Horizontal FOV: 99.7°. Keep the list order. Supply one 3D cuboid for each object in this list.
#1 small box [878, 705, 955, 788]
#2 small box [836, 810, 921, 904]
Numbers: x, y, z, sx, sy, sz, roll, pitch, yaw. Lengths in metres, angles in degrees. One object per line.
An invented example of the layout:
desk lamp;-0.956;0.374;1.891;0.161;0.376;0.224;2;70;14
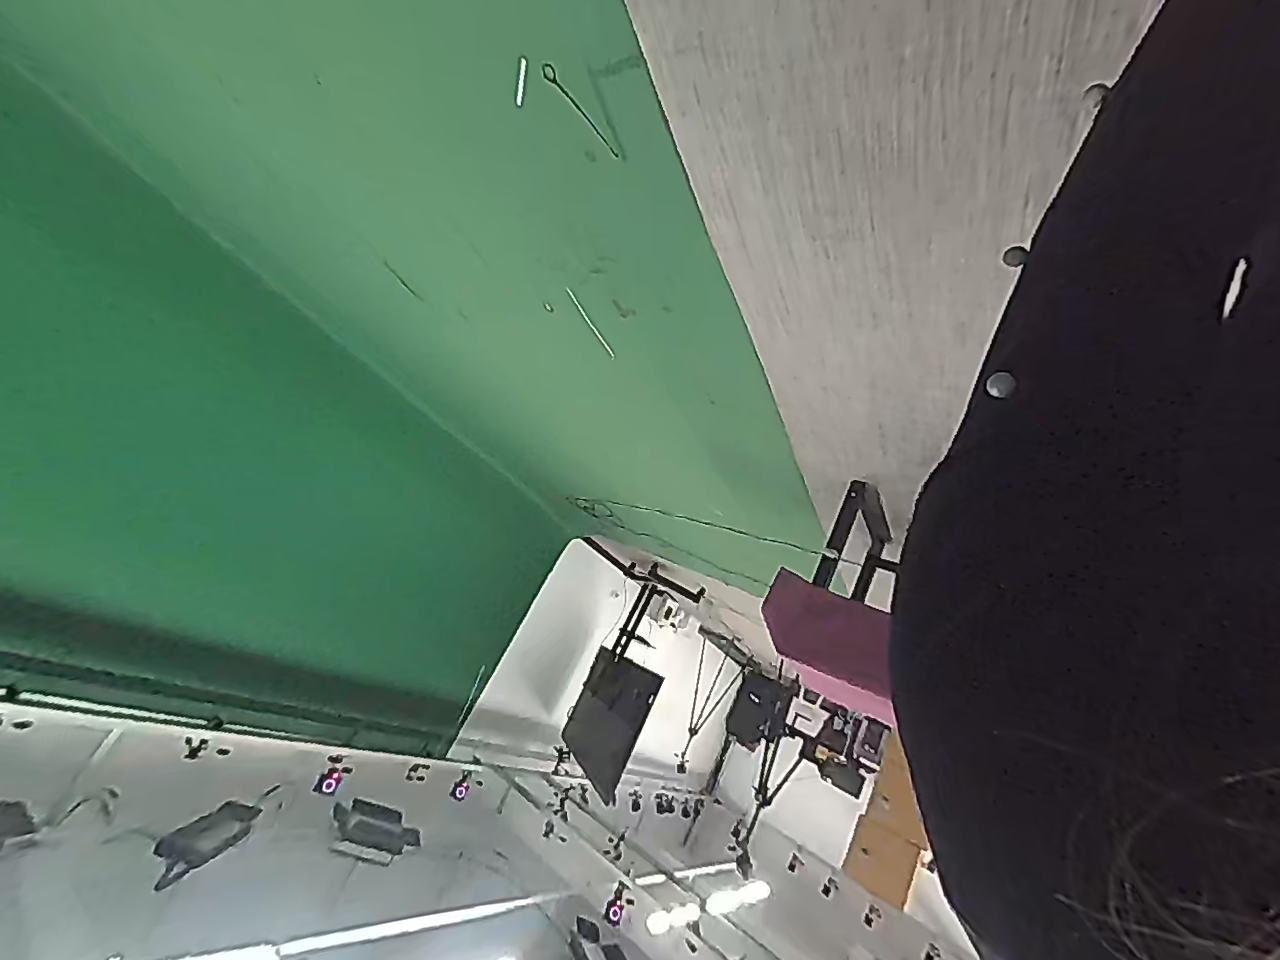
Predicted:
small box;0.859;0.823;1.674;0.179;0.176;0.168;16;159;36
small box;0.708;1.105;1.600;0.179;0.176;0.168;15;159;38
